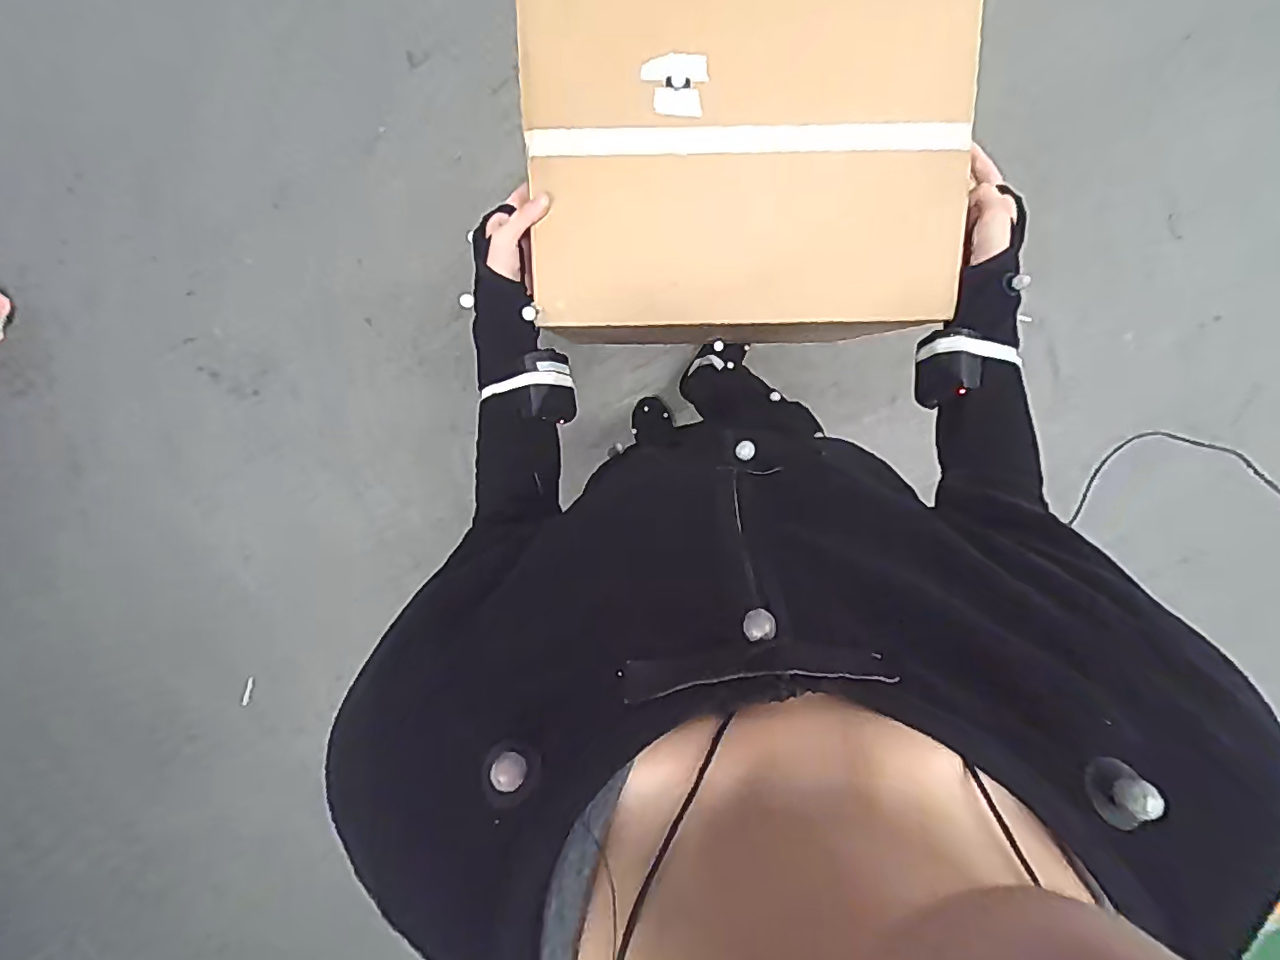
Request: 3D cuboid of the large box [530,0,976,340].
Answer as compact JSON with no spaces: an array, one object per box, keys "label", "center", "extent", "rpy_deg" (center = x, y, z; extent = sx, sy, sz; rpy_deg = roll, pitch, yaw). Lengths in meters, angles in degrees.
[{"label":"large box","center":[0.104,-0.337,0.650],"extent":[0.408,0.320,0.320],"rpy_deg":[0,100,0]}]
